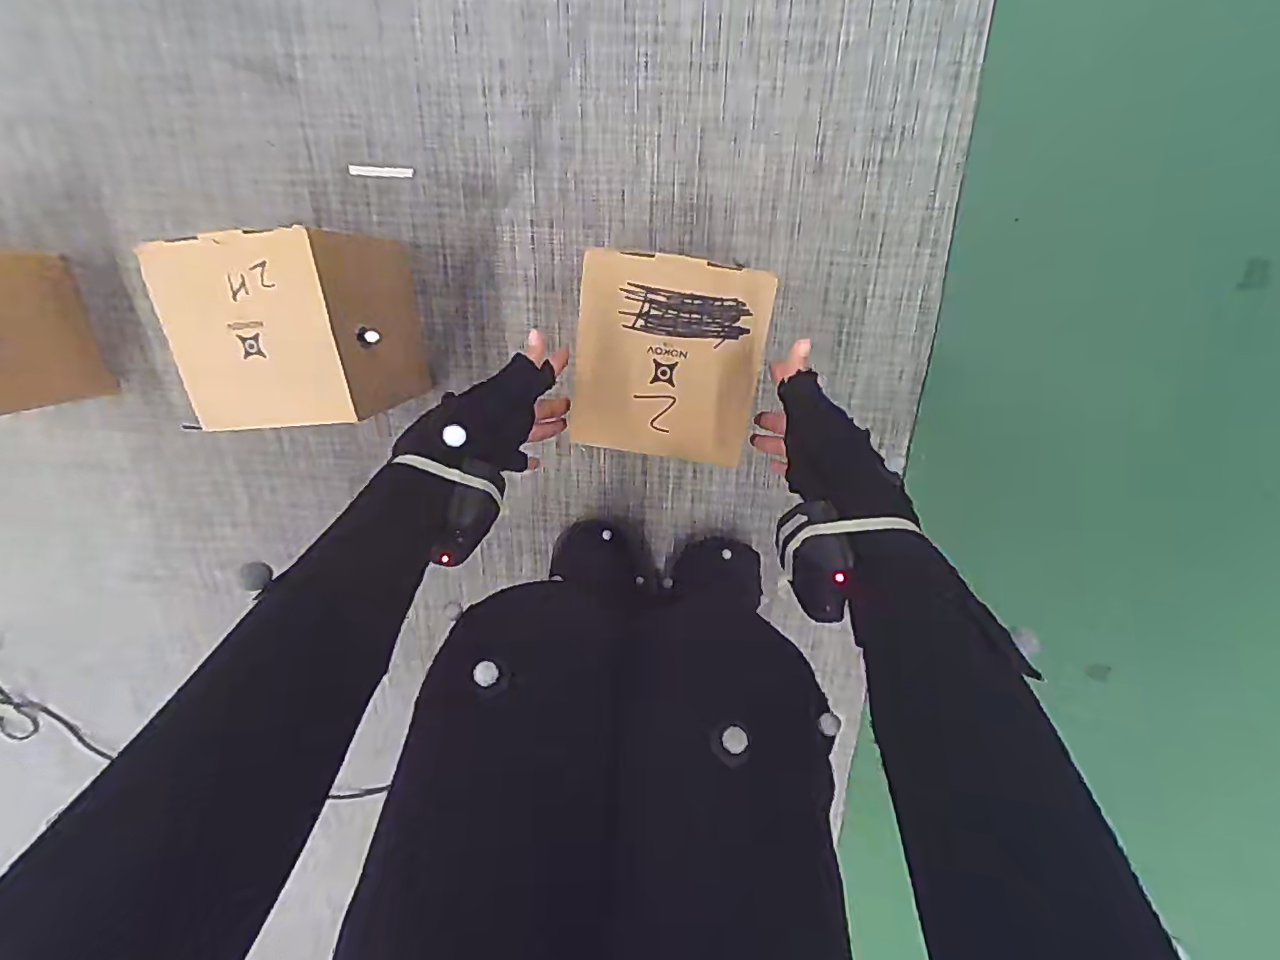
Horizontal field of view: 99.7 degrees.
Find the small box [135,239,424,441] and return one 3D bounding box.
[{"bbox_3d":[-0.349,-0.149,0.568,0.168,0.176,0.179,-3,109,4],"label":"small box"}]

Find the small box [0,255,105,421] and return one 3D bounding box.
[{"bbox_3d":[-0.775,-0.156,0.601,0.168,0.176,0.179,-3,110,6],"label":"small box"}]
